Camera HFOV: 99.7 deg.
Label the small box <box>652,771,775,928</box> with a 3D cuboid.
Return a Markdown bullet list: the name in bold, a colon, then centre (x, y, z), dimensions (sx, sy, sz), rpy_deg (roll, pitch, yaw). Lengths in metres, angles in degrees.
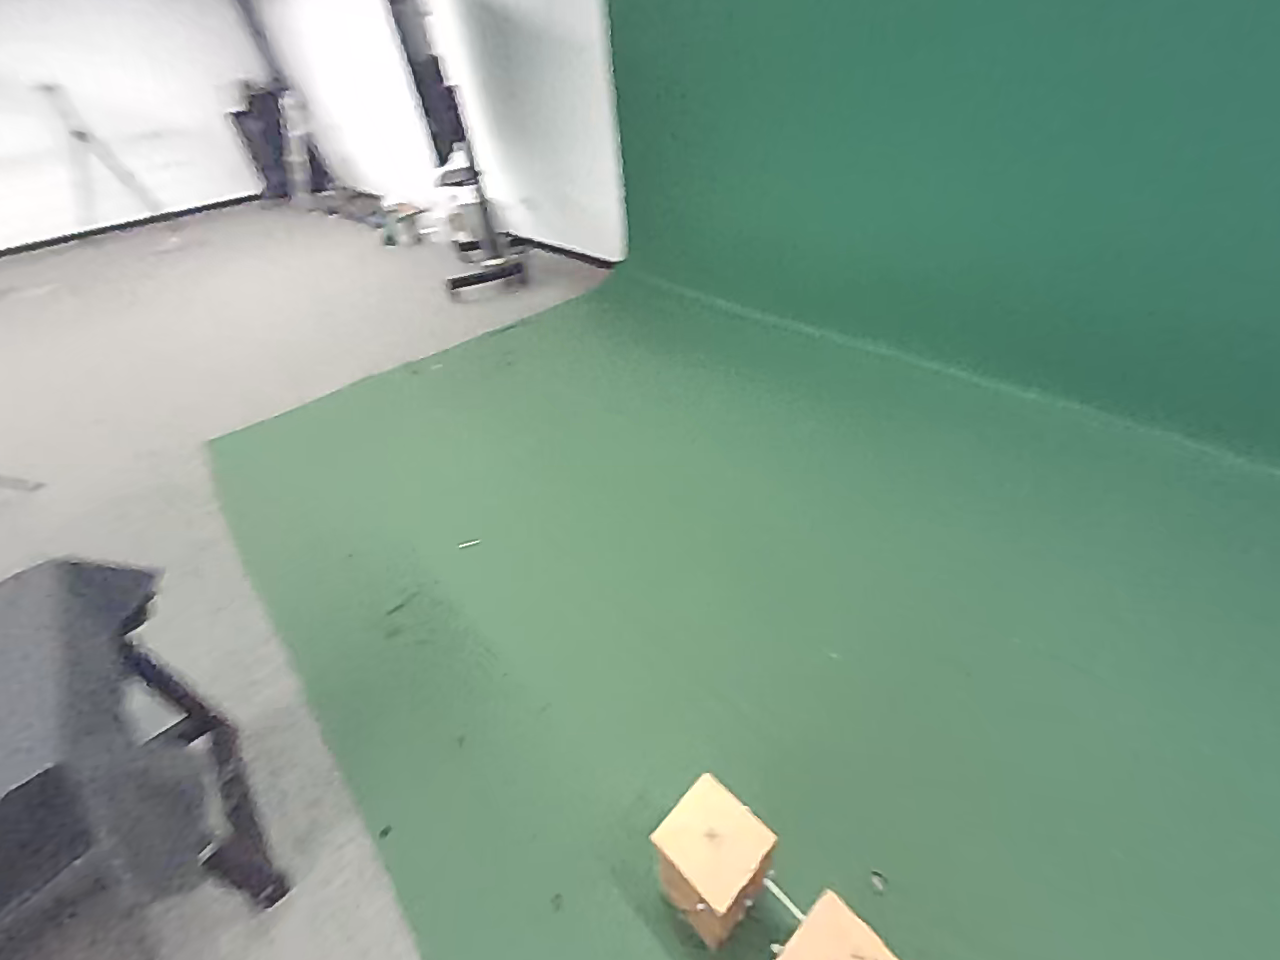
- **small box**: centre (0.144, 0.733, 1.073), dimensions (0.168, 0.176, 0.179), rpy_deg (-34, 48, -30)

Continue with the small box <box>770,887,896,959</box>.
- **small box**: centre (0.321, 0.849, 0.910), dimensions (0.179, 0.176, 0.168), rpy_deg (-32, 47, -27)
